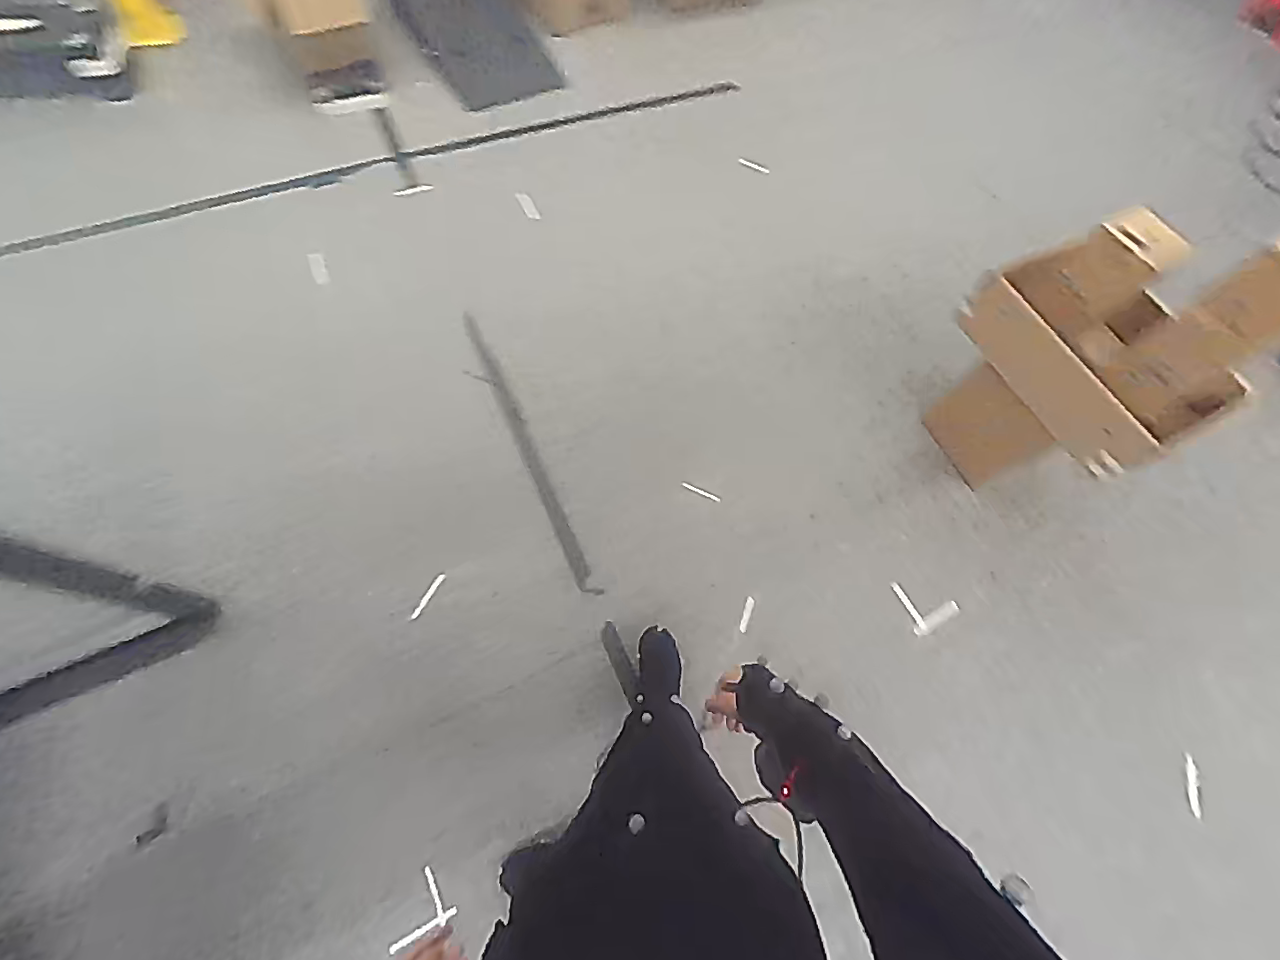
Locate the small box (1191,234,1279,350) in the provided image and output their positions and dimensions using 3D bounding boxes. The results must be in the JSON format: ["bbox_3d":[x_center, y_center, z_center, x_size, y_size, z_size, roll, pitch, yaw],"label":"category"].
[{"bbox_3d":[1.324,-0.402,1.118,0.179,0.176,0.168,-25,70,-15],"label":"small box"}]

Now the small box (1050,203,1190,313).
[{"bbox_3d":[1.183,-0.548,1.352,0.179,0.176,0.168,-26,71,-18],"label":"small box"}]
